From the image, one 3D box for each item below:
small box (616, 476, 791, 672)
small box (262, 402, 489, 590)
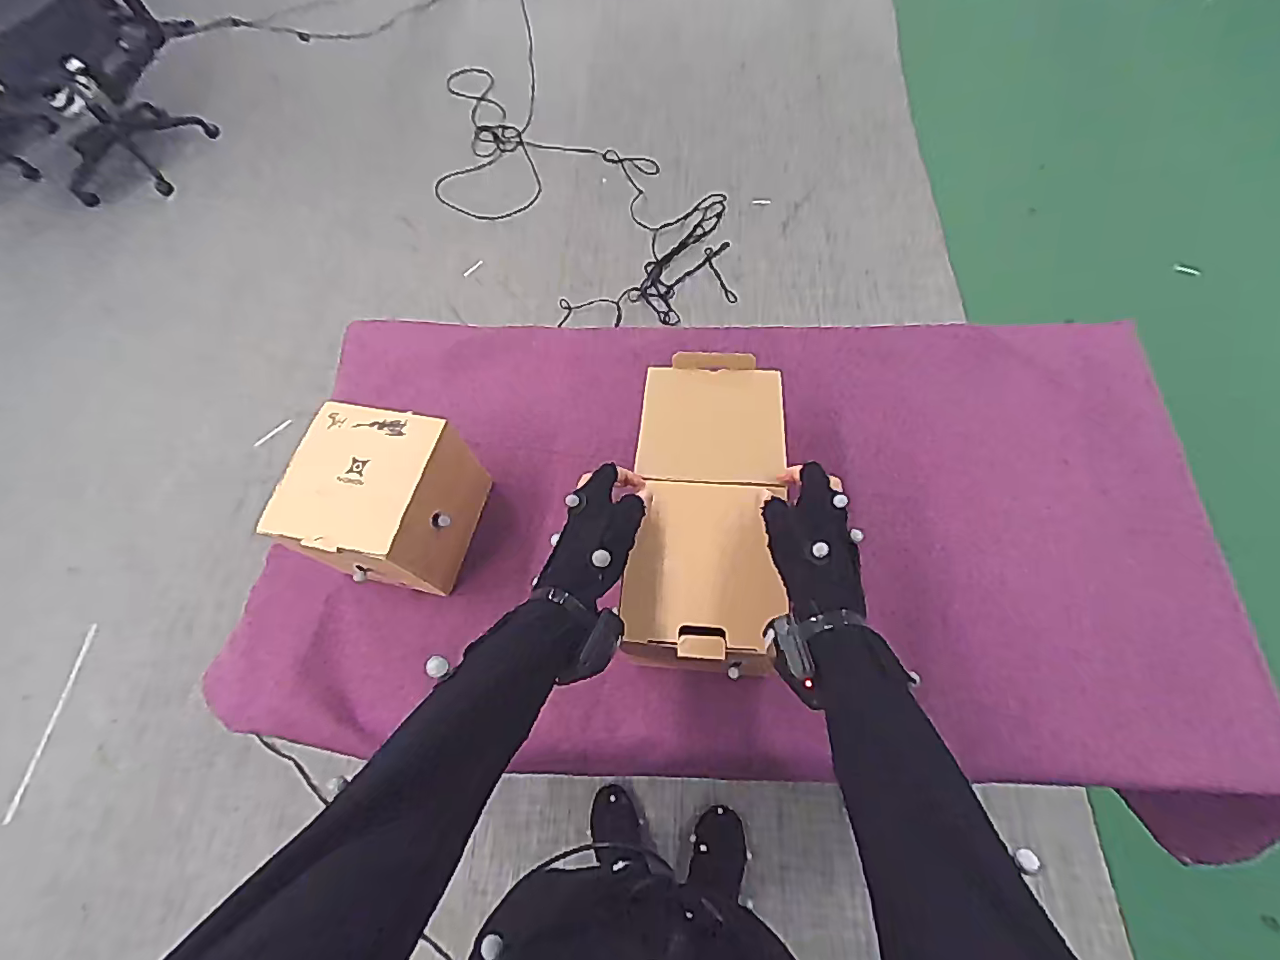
[{"bbox_3d":[0.074,0.112,0.608,0.168,0.176,0.179,3,64,7],"label":"small box"},{"bbox_3d":[-0.313,0.028,0.687,0.168,0.176,0.179,10,66,10],"label":"small box"}]
